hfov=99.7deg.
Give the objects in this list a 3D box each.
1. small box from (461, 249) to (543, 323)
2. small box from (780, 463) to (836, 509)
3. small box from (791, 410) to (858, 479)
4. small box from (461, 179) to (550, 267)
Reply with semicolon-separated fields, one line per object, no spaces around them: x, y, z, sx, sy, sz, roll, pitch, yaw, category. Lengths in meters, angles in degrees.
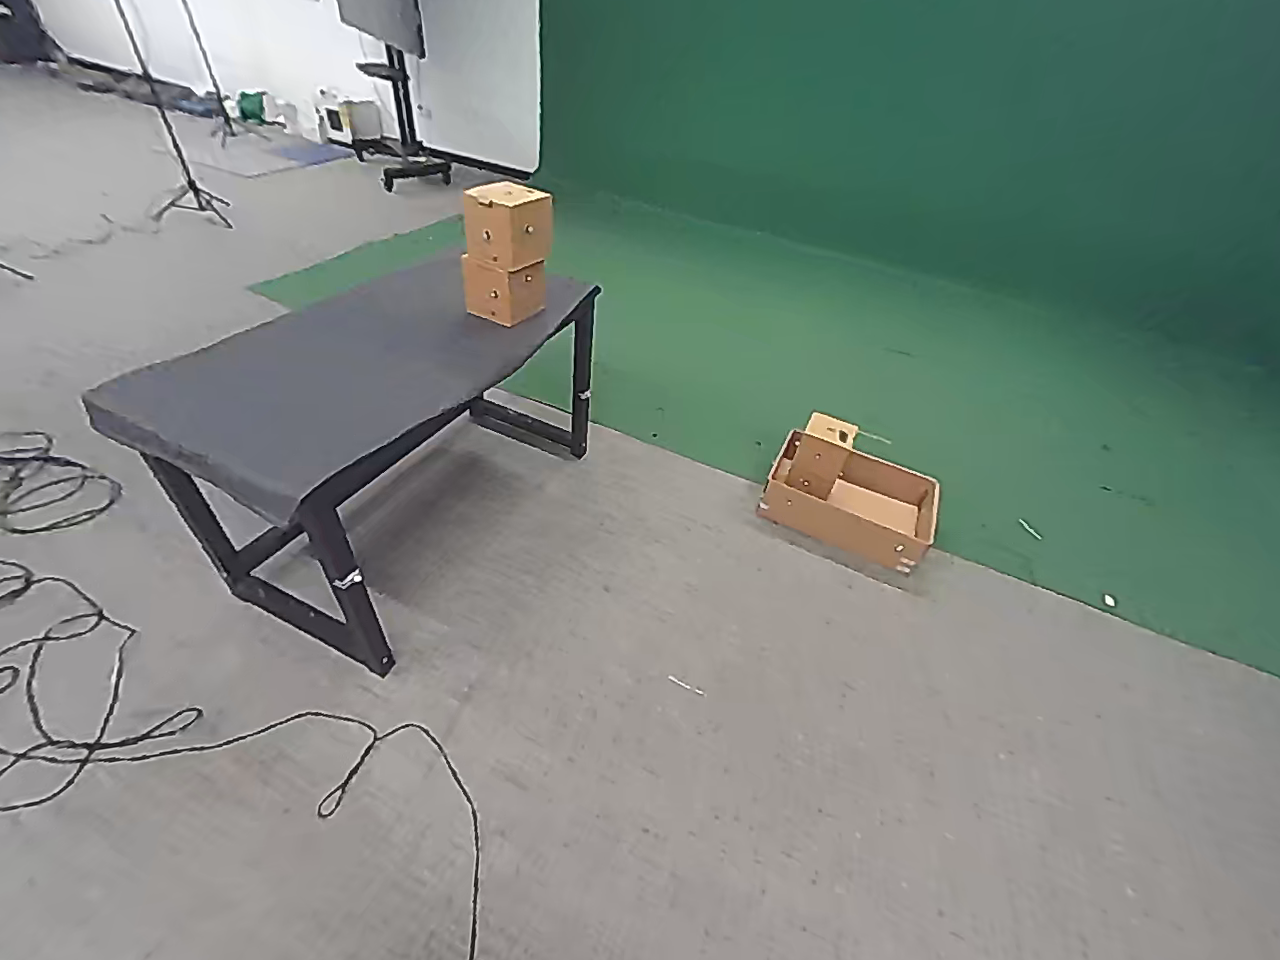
-0.398;-0.583;1.590;0.168;0.176;0.179;24;43;16;small box
0.678;-0.013;2.161;0.179;0.176;0.168;23;45;14;small box
0.696;-0.130;2.047;0.179;0.176;0.168;23;44;15;small box
-0.360;-0.704;1.484;0.168;0.176;0.179;26;45;18;small box
